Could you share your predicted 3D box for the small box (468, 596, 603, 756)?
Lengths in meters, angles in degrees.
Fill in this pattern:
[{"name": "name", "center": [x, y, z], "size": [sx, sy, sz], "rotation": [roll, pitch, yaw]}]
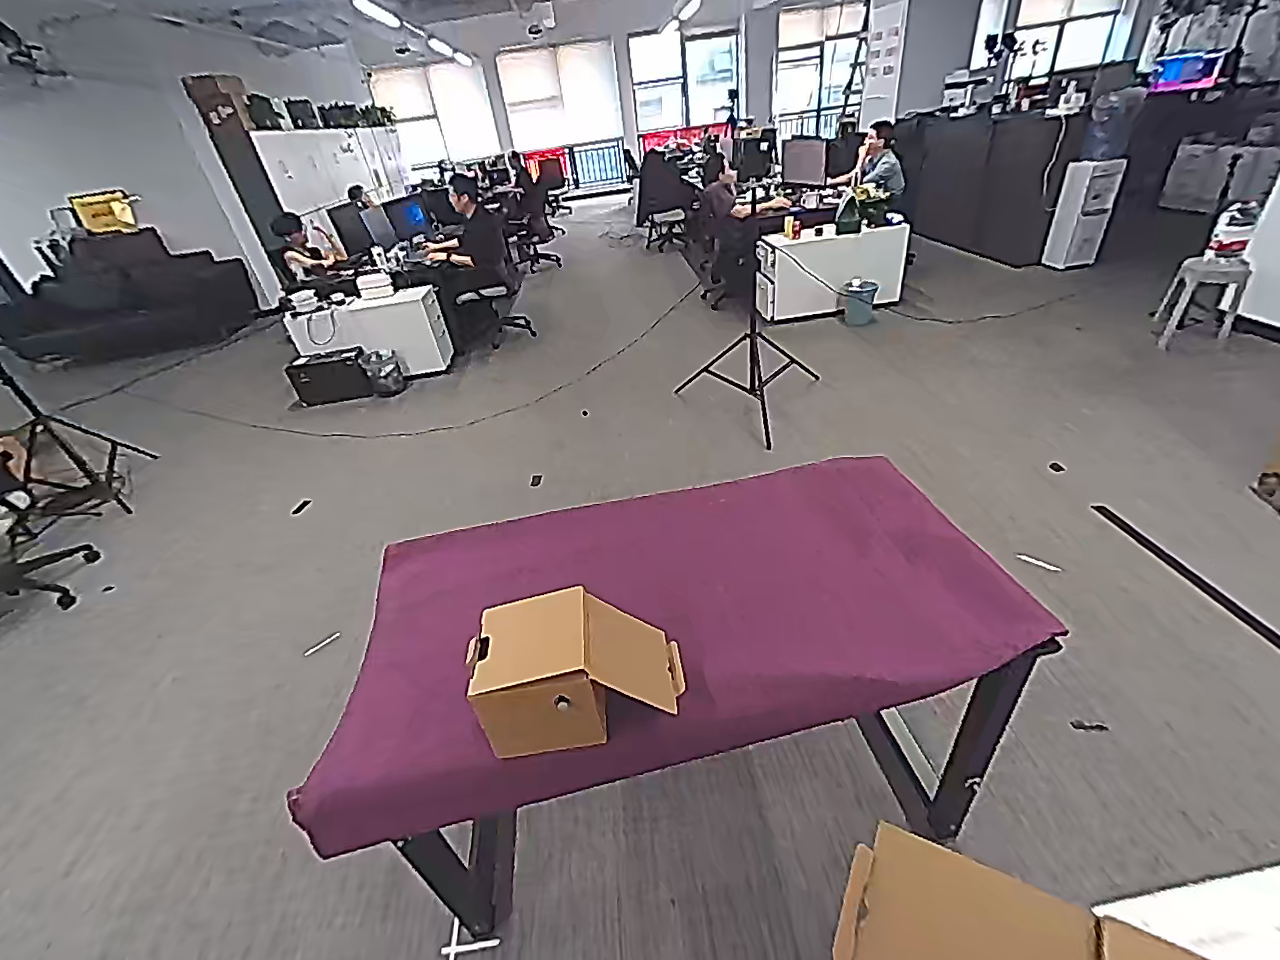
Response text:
[{"name": "small box", "center": [-0.154, 0.315, 0.871], "size": [0.179, 0.176, 0.168], "rotation": [-9, 33, 0]}]
